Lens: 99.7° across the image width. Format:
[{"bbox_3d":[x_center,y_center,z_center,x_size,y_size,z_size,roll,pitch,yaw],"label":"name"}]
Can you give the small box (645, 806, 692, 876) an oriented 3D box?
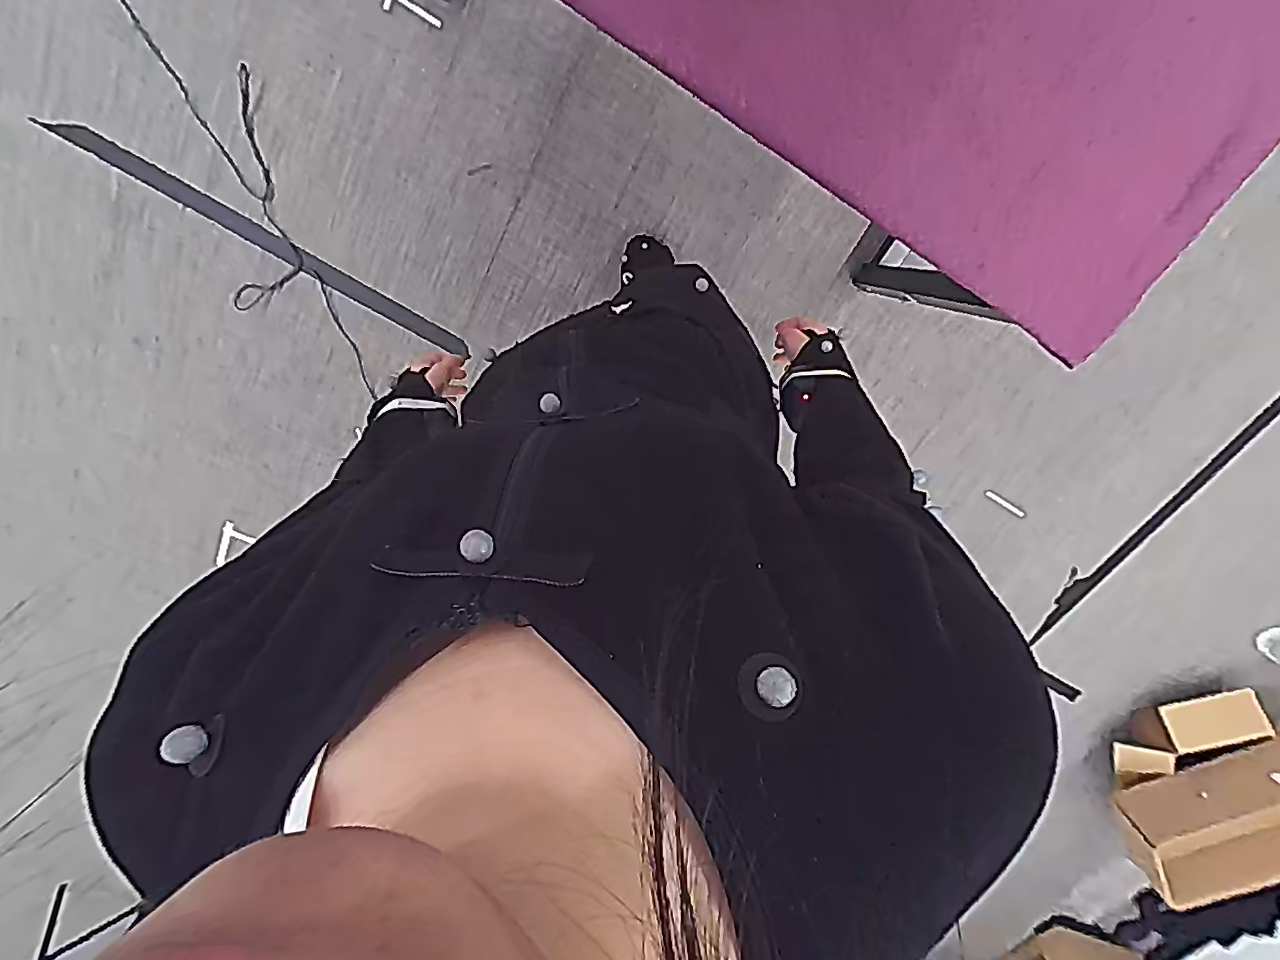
[{"bbox_3d":[0.110,1.406,2.117,0.168,0.176,0.179,-6,115,3],"label":"small box"}]
